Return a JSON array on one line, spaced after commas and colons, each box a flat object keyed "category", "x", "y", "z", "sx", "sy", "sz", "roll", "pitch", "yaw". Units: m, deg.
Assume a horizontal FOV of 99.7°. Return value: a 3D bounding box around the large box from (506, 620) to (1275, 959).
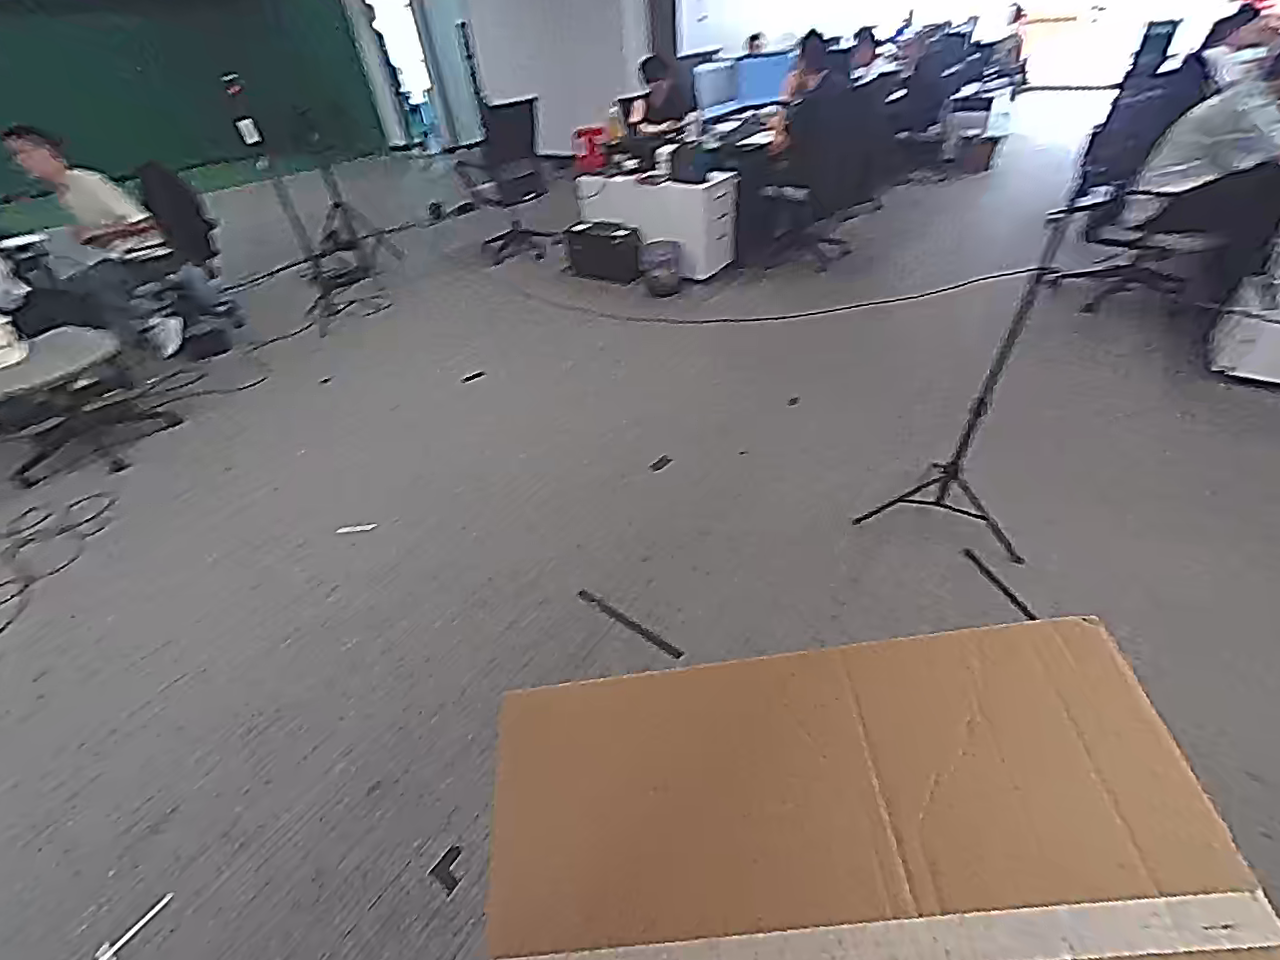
[{"category": "large box", "x": 0.139, "y": 0.335, "z": 0.416, "sx": 0.408, "sy": 0.320, "sz": 0.320, "roll": -10, "pitch": 56, "yaw": 5}]
